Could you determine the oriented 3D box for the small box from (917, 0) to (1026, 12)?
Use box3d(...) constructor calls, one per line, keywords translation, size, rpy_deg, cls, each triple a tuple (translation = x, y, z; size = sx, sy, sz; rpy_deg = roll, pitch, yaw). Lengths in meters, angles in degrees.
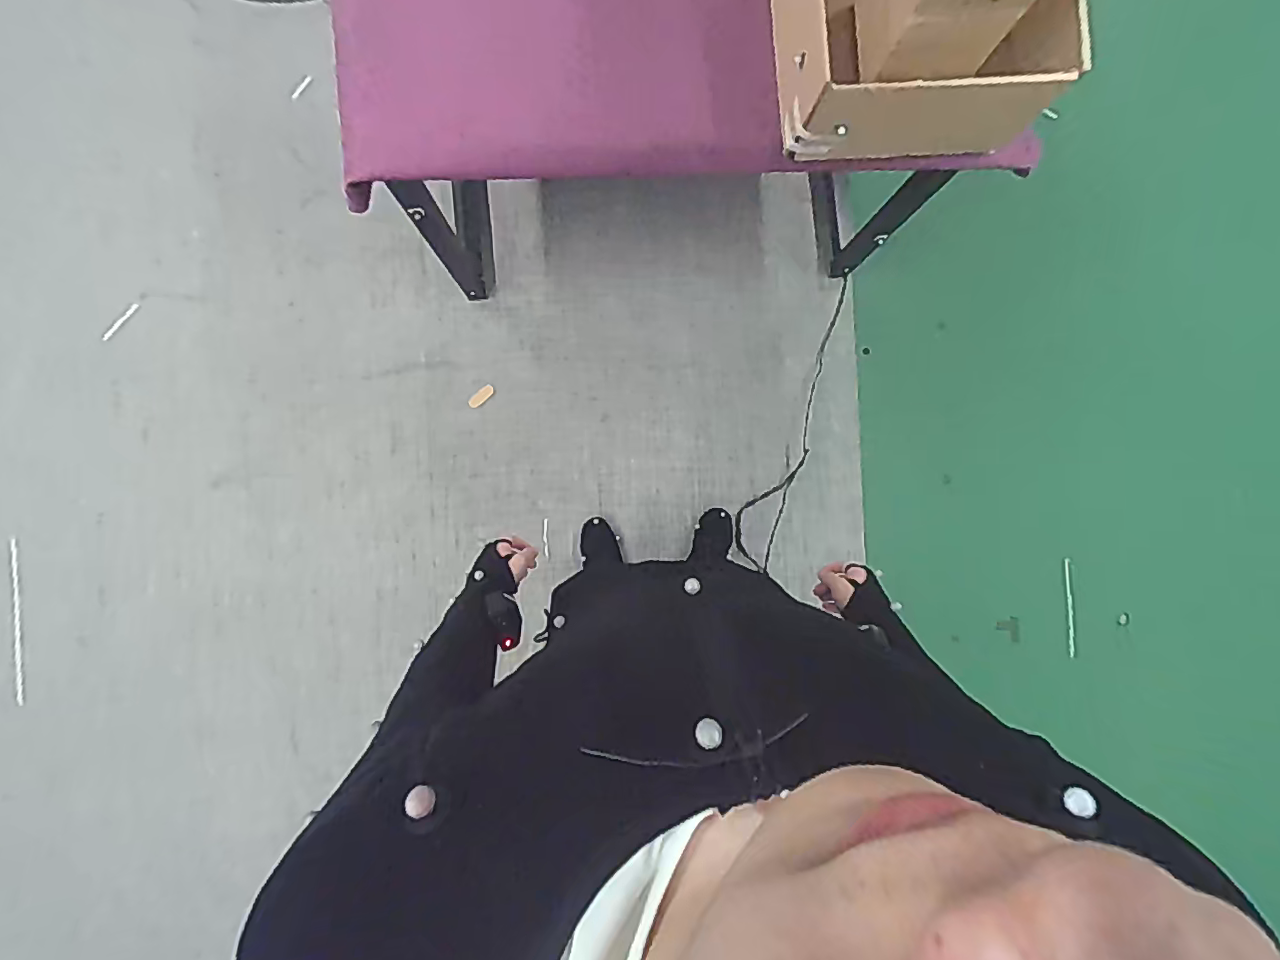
box3d(translation=(0.453, -0.738, 0.679), size=(0.168, 0.176, 0.179), rpy_deg=(-3, 87, -2), cls="small box")
